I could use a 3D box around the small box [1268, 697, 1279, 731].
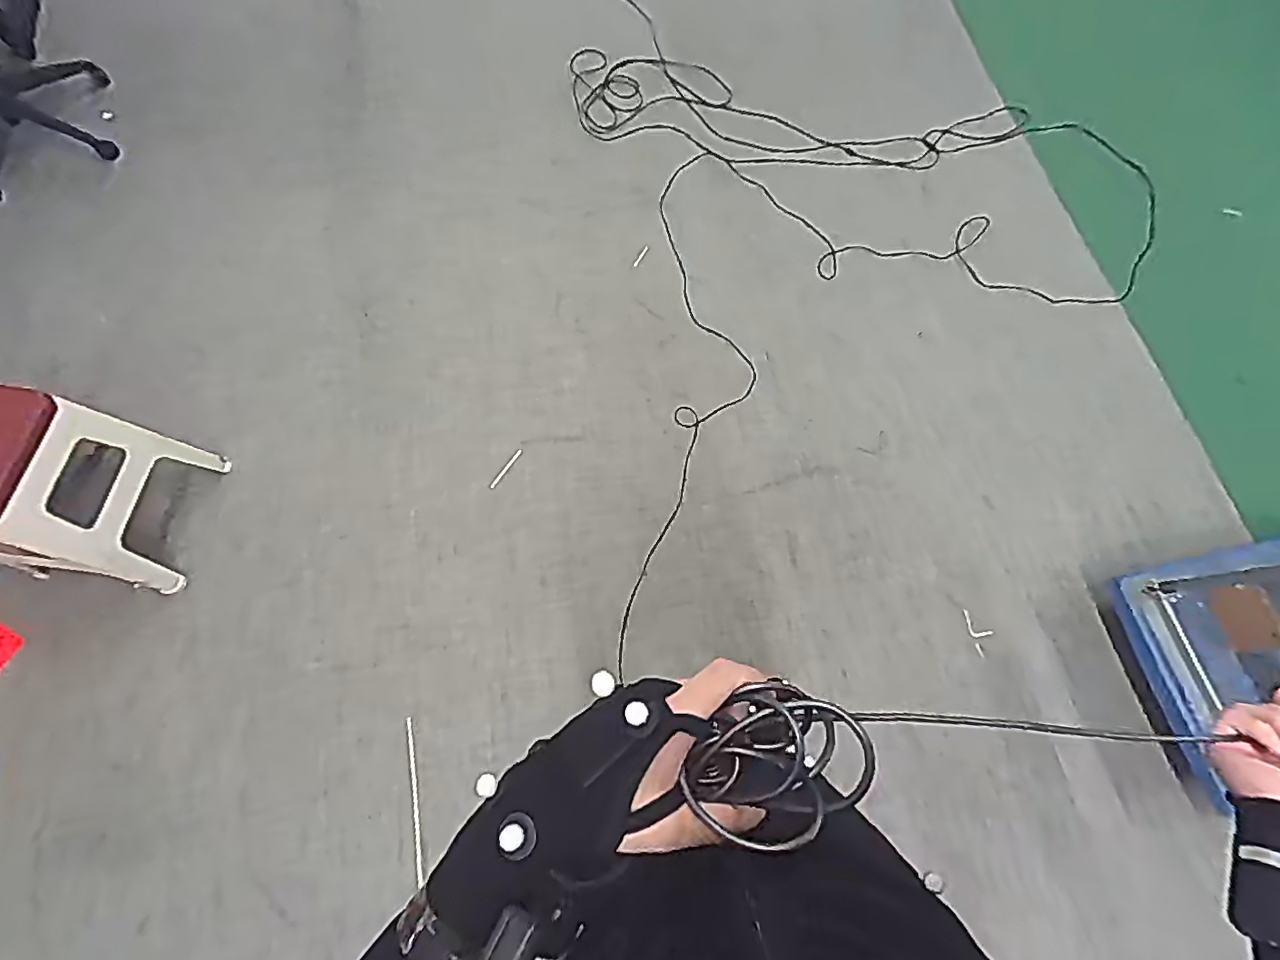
[{"bbox_3d":[1.627,0.575,1.227,0.179,0.176,0.168,-9,71,-5],"label":"small box"}]
